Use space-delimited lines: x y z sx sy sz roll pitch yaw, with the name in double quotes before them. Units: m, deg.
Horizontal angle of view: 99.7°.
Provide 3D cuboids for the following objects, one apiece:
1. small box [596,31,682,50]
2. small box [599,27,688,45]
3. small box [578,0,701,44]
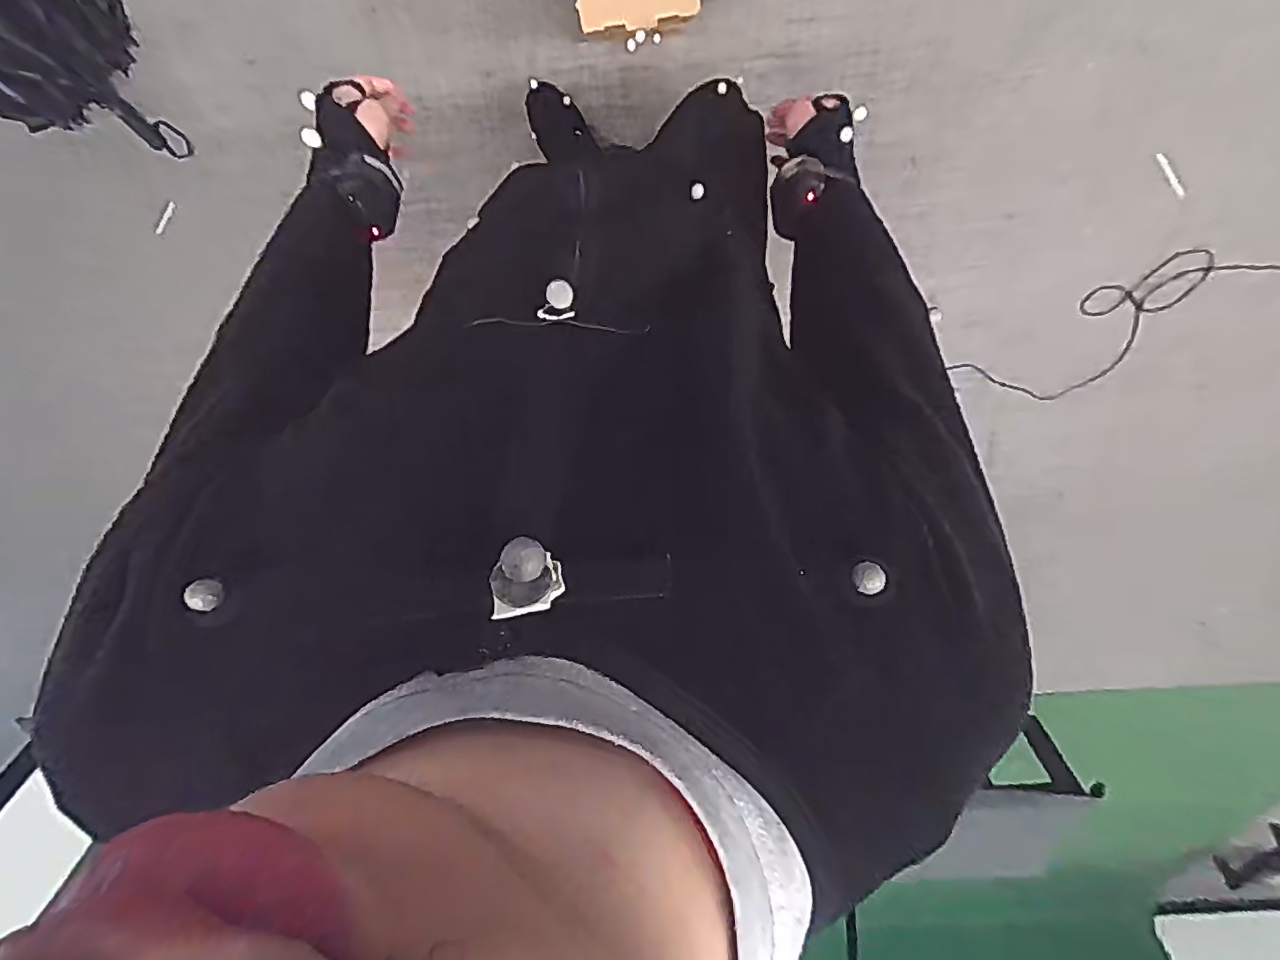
"small box" -0.011 -0.923 1.005 0.168 0.176 0.179 -4 127 3
"small box" -0.011 -0.826 0.876 0.168 0.176 0.179 -6 125 3
"small box" -0.007 -0.728 0.746 0.168 0.176 0.179 -7 128 4
